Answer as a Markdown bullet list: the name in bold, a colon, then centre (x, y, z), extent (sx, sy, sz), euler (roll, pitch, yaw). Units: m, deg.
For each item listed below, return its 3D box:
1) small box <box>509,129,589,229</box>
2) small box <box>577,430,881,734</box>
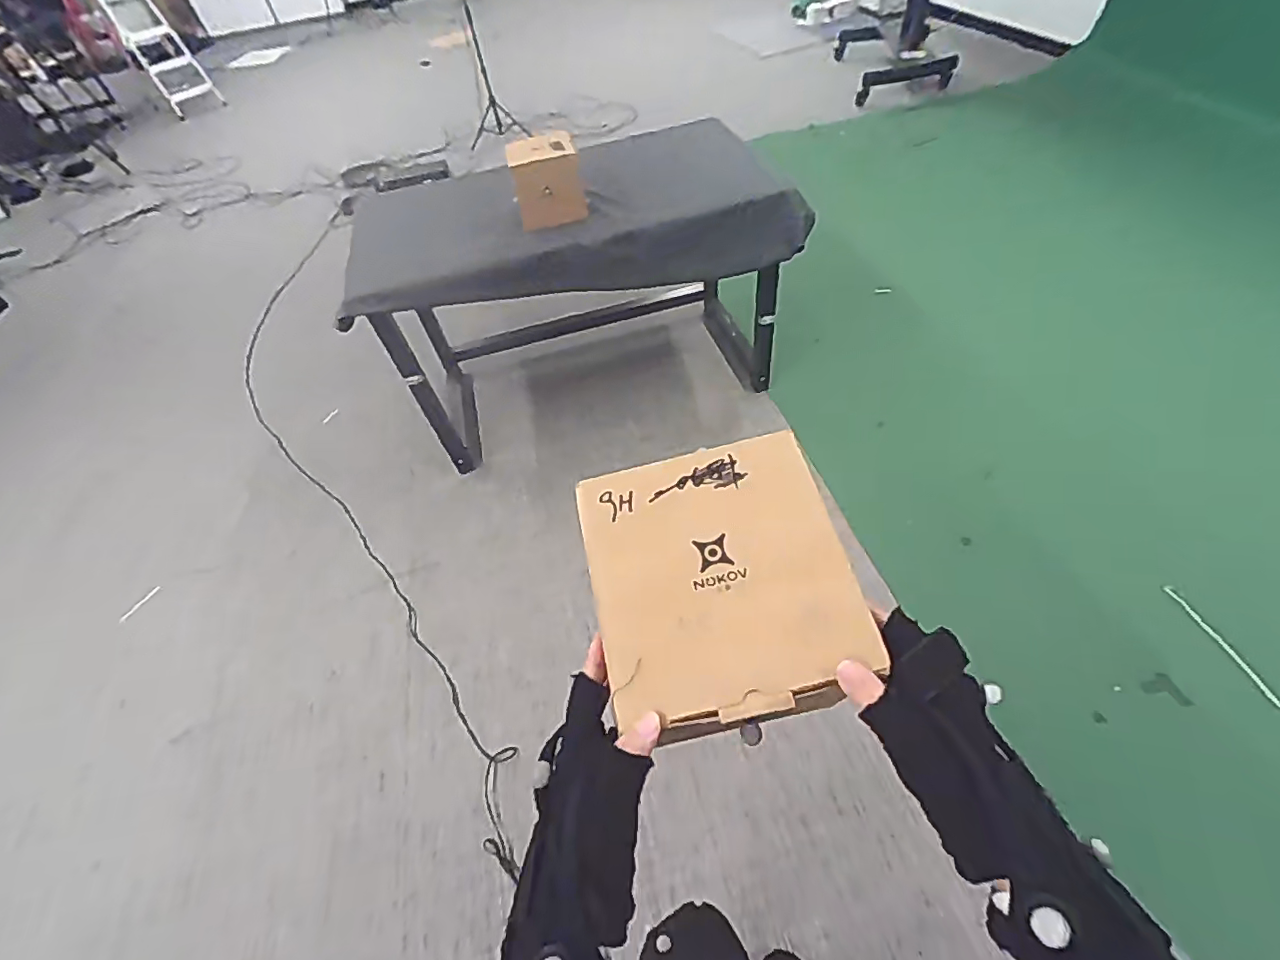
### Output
- **small box**: centre (-0.239, -0.807, 1.454), extent (0.179, 0.176, 0.168), euler (-14, 51, -2)
- **small box**: centre (0.059, 0.091, 0.428), extent (0.168, 0.176, 0.179), euler (-14, 62, 0)
